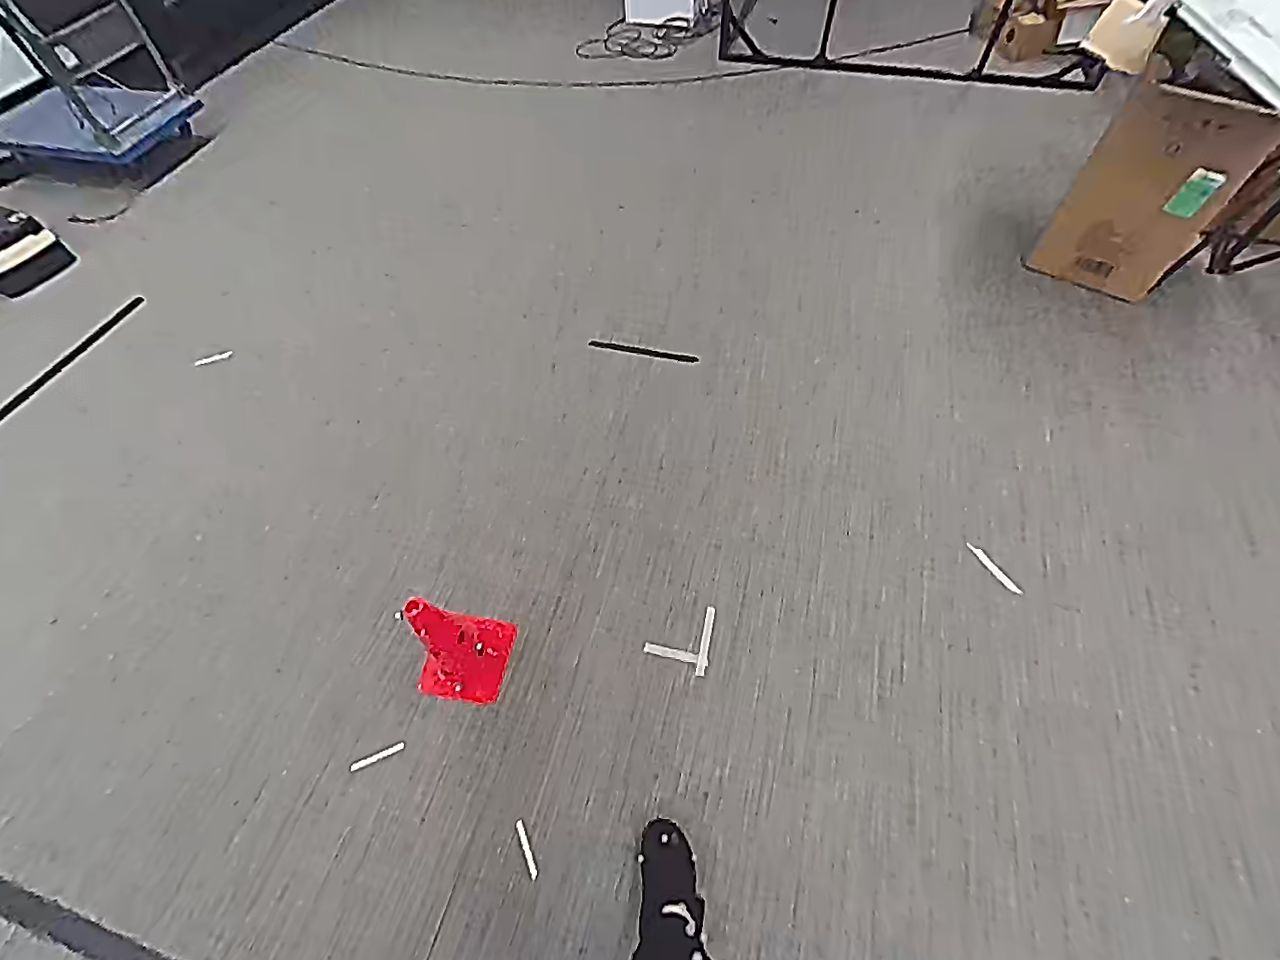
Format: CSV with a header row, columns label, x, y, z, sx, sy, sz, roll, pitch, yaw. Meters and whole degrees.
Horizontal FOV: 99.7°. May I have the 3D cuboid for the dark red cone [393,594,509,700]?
label,x,y,z,sx,sy,sz,roll,pitch,yaw
dark red cone,-0.432,0.328,1.157,0.202,0.394,0.201,7,58,6
